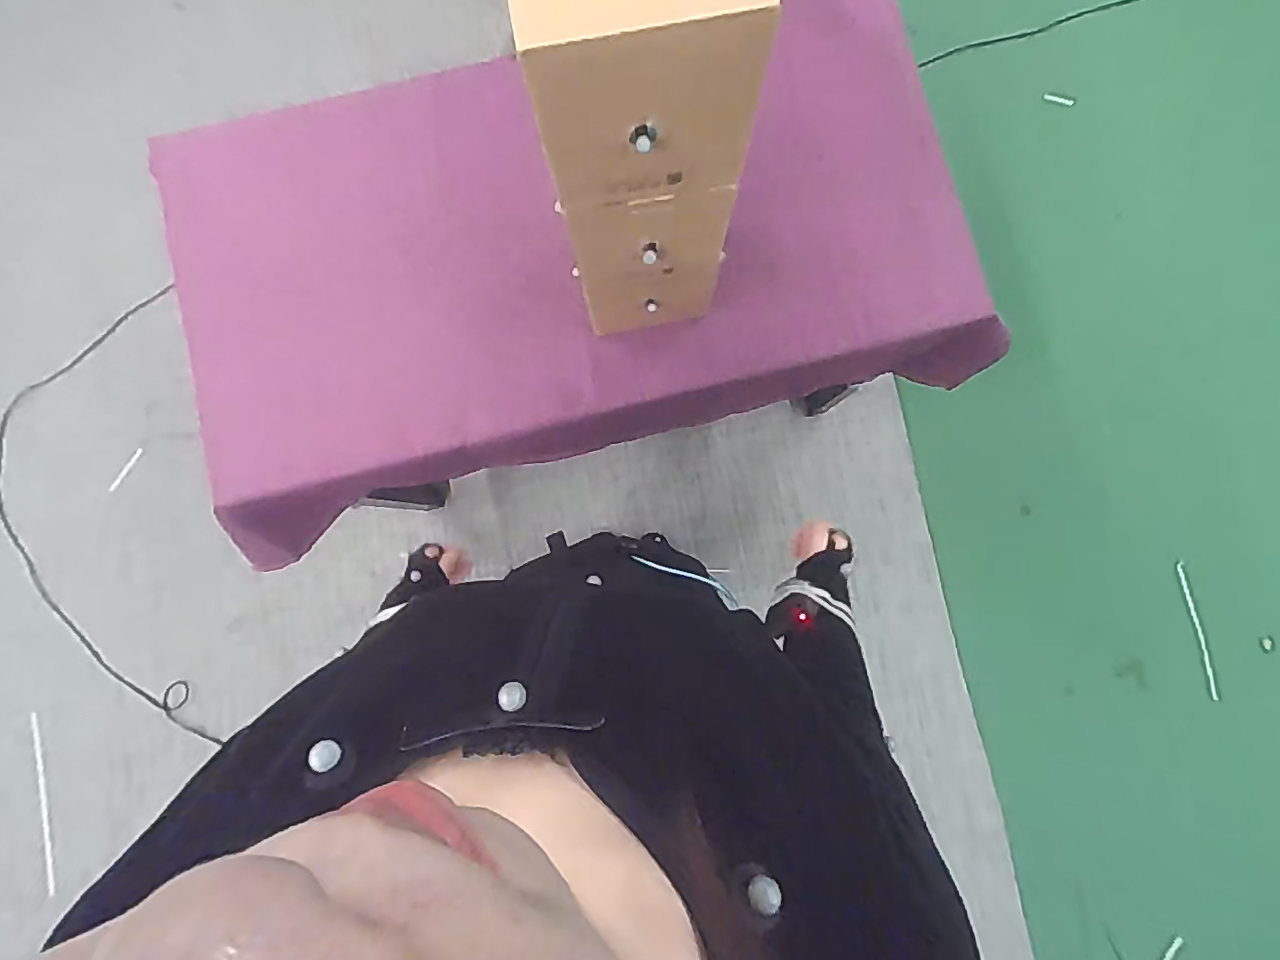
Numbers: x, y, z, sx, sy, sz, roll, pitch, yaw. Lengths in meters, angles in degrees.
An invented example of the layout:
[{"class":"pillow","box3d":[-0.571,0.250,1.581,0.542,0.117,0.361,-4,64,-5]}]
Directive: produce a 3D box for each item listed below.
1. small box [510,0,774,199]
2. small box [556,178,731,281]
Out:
[{"class":"small box","box3d":[-0.006,-0.347,0.423,0.168,0.176,0.179,-9,84,0]},{"class":"small box","box3d":[-0.002,-0.333,0.587,0.168,0.176,0.179,-7,85,0]}]
